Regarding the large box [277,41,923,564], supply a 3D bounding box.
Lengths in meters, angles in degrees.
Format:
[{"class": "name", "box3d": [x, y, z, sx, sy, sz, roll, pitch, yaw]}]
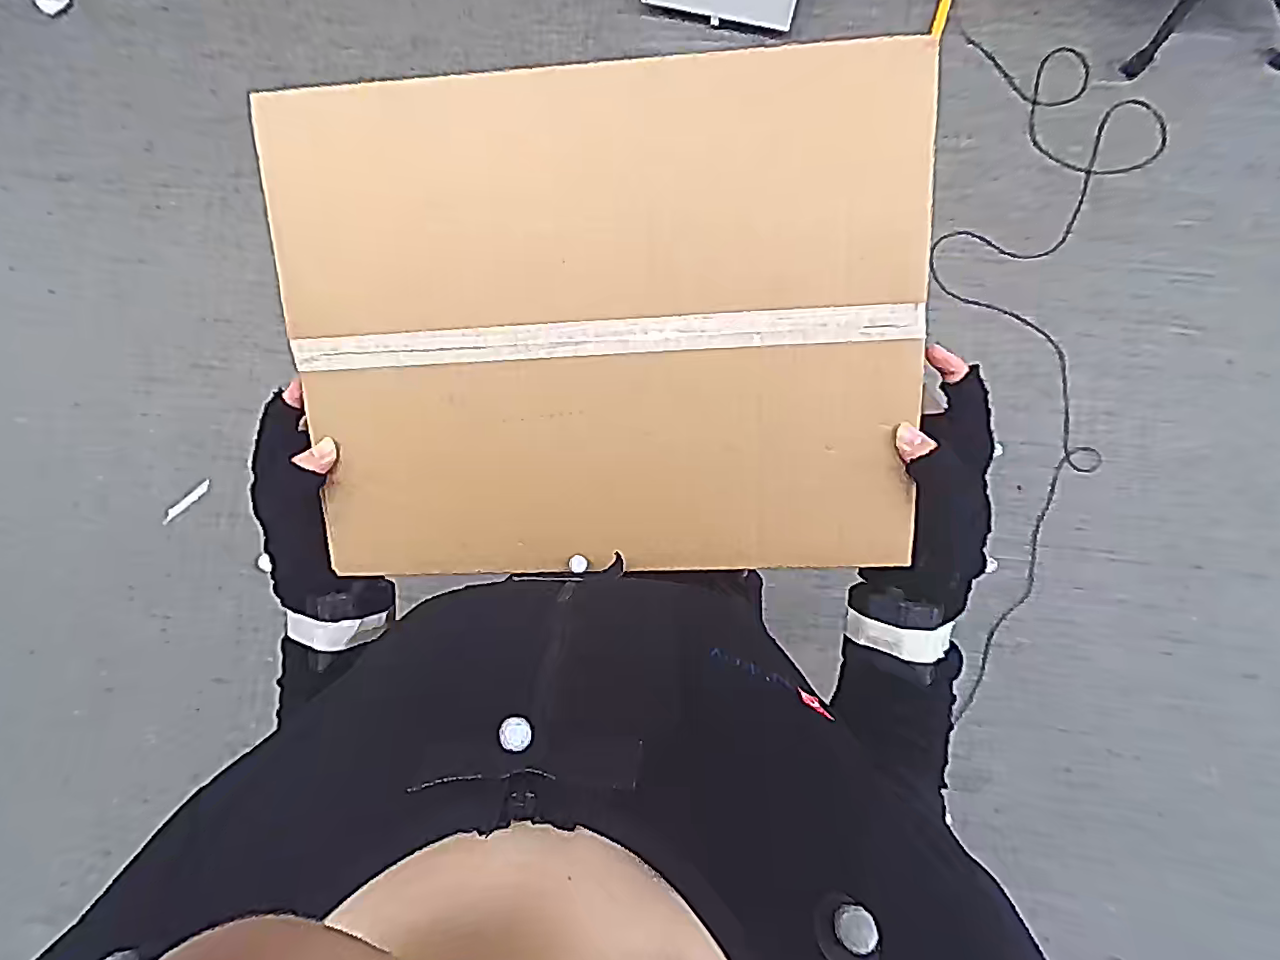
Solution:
[{"class": "large box", "box3d": [-0.018, -0.125, 0.500, 0.408, 0.320, 0.320, -2, 103, 4]}]
